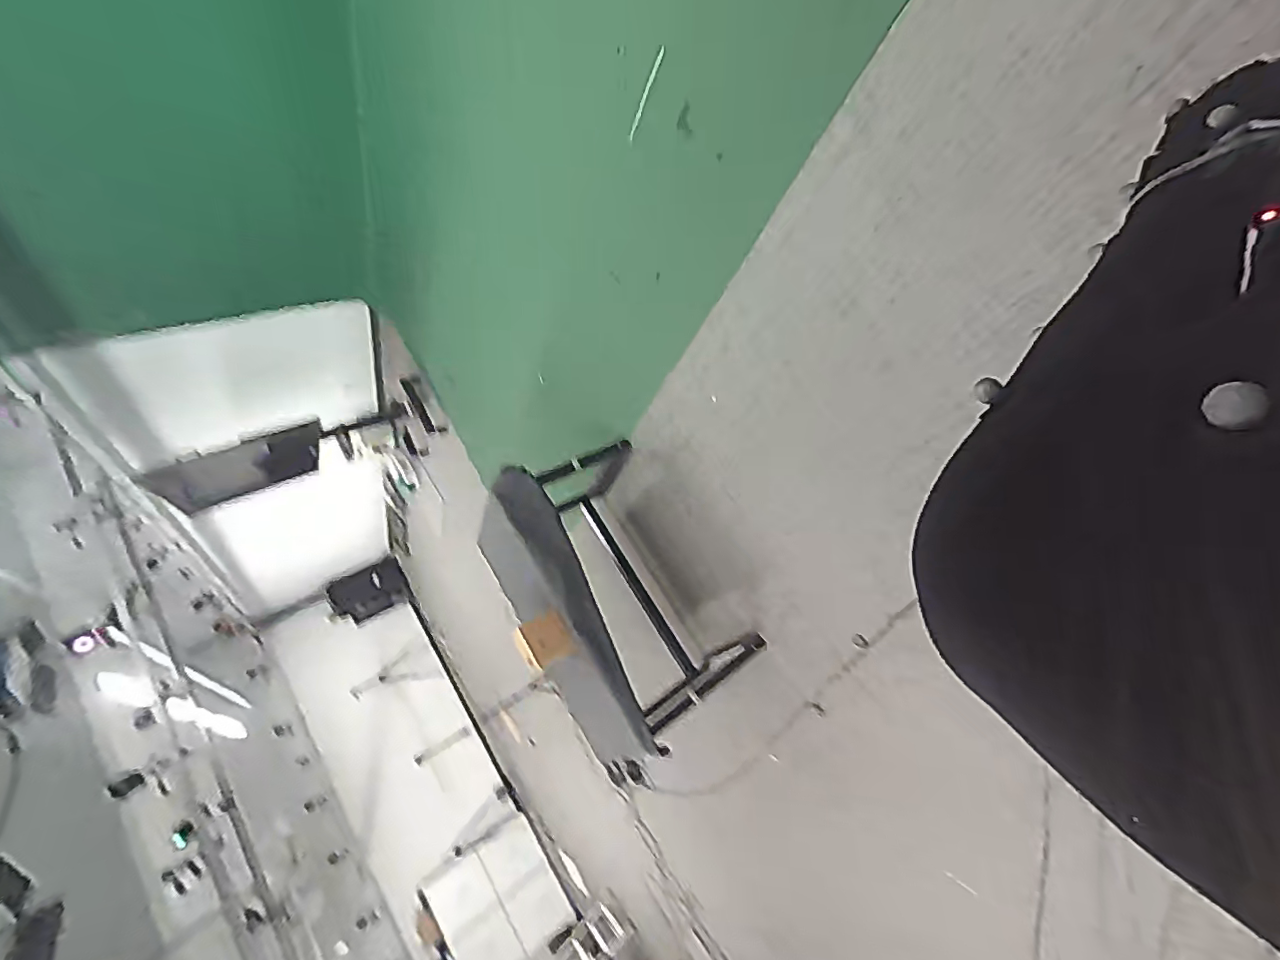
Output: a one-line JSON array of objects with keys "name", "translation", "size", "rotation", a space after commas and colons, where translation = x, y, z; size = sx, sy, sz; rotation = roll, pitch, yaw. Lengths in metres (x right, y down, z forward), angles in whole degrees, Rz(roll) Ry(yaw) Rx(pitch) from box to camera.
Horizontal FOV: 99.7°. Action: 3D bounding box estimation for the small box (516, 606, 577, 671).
[{"name": "small box", "translation": [-0.378, 0.645, 2.203], "size": [0.179, 0.176, 0.168], "rotation": [57, 147, 13]}]
